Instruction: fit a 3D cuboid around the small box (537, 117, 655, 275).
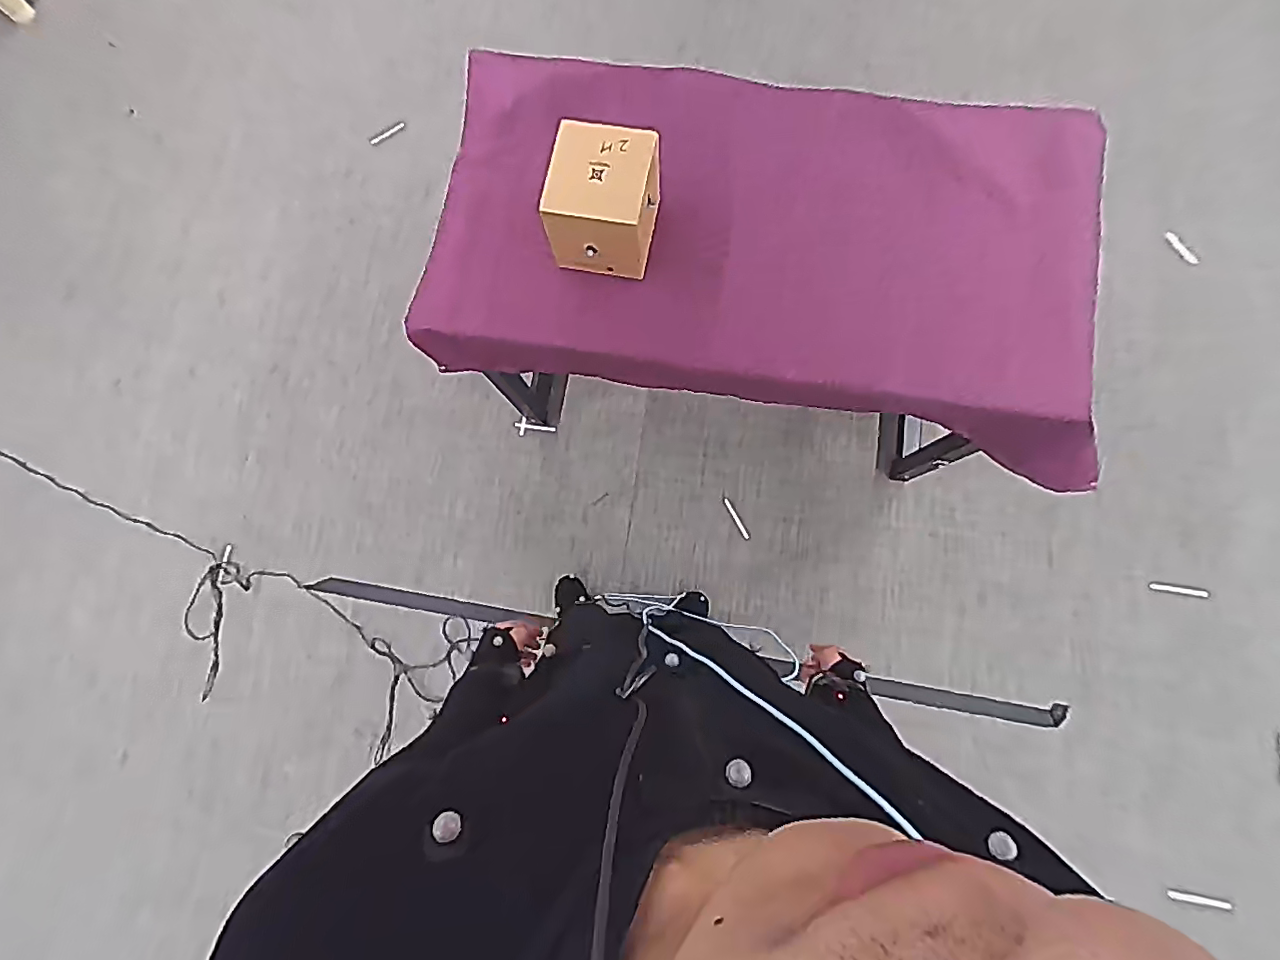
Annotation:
[{"bbox_3d":[-0.068,-0.492,0.959,0.168,0.176,0.179,11,81,4],"label":"small box"}]
